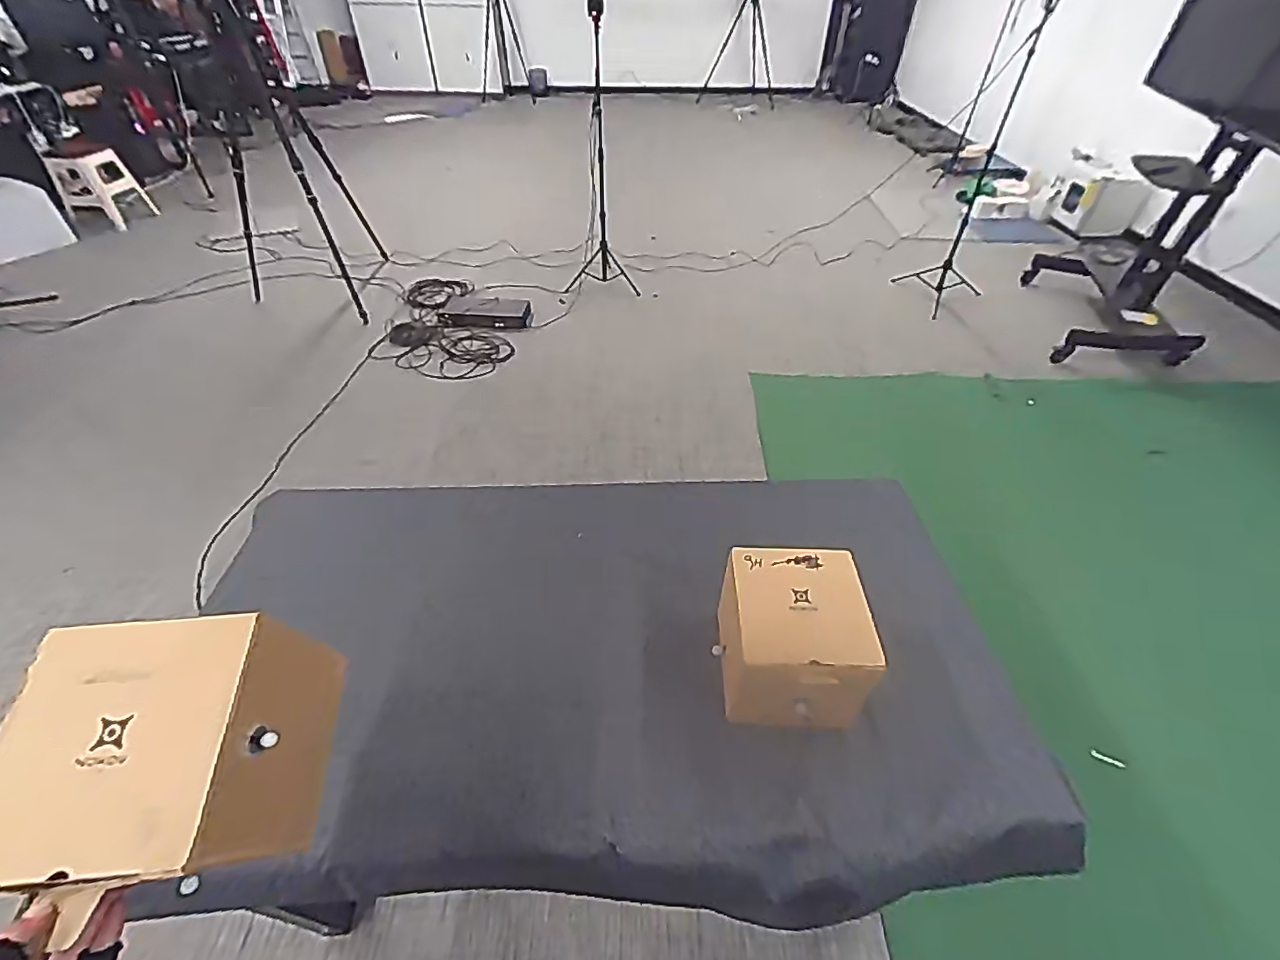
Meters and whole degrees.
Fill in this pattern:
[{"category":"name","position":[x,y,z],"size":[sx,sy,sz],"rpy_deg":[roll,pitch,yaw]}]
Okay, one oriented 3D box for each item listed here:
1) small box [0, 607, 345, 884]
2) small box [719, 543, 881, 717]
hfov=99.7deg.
[{"category":"small box","position":[-0.382,0.222,0.461],"size":[0.168,0.176,0.179],"rpy_deg":[-3,59,-3]},{"category":"small box","position":[0.202,0.207,0.739],"size":[0.168,0.176,0.179],"rpy_deg":[2,45,1]}]
